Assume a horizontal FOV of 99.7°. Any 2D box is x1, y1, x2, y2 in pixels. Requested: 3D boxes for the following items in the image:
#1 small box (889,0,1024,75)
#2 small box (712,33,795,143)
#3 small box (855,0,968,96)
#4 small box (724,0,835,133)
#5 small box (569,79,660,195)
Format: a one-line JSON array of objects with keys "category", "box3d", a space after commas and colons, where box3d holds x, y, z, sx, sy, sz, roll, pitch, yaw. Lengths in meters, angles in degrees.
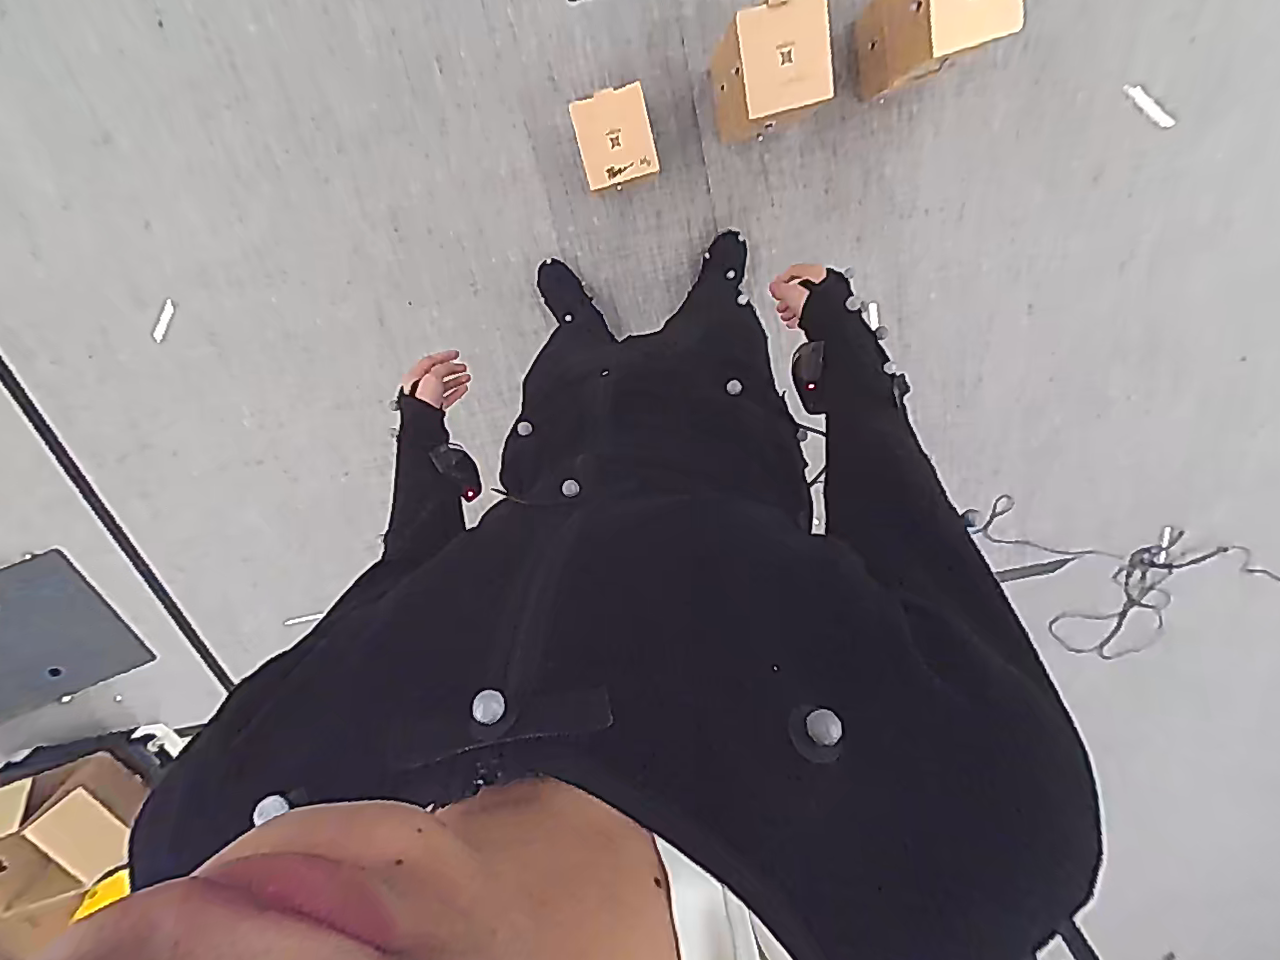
[{"category": "small box", "box3d": [0.596, -0.910, 1.032, 0.168, 0.176, 0.179, -15, 112, 5]}, {"category": "small box", "box3d": [0.263, -0.886, 1.212, 0.168, 0.176, 0.179, -12, 113, 4]}, {"category": "small box", "box3d": [0.590, -0.973, 1.182, 0.168, 0.176, 0.179, -16, 112, 5]}, {"category": "small box", "box3d": [0.268, -0.815, 1.063, 0.168, 0.176, 0.179, -12, 113, 5]}, {"category": "small box", "box3d": [-0.056, -0.782, 1.253, 0.168, 0.176, 0.179, -14, 112, 5]}]
